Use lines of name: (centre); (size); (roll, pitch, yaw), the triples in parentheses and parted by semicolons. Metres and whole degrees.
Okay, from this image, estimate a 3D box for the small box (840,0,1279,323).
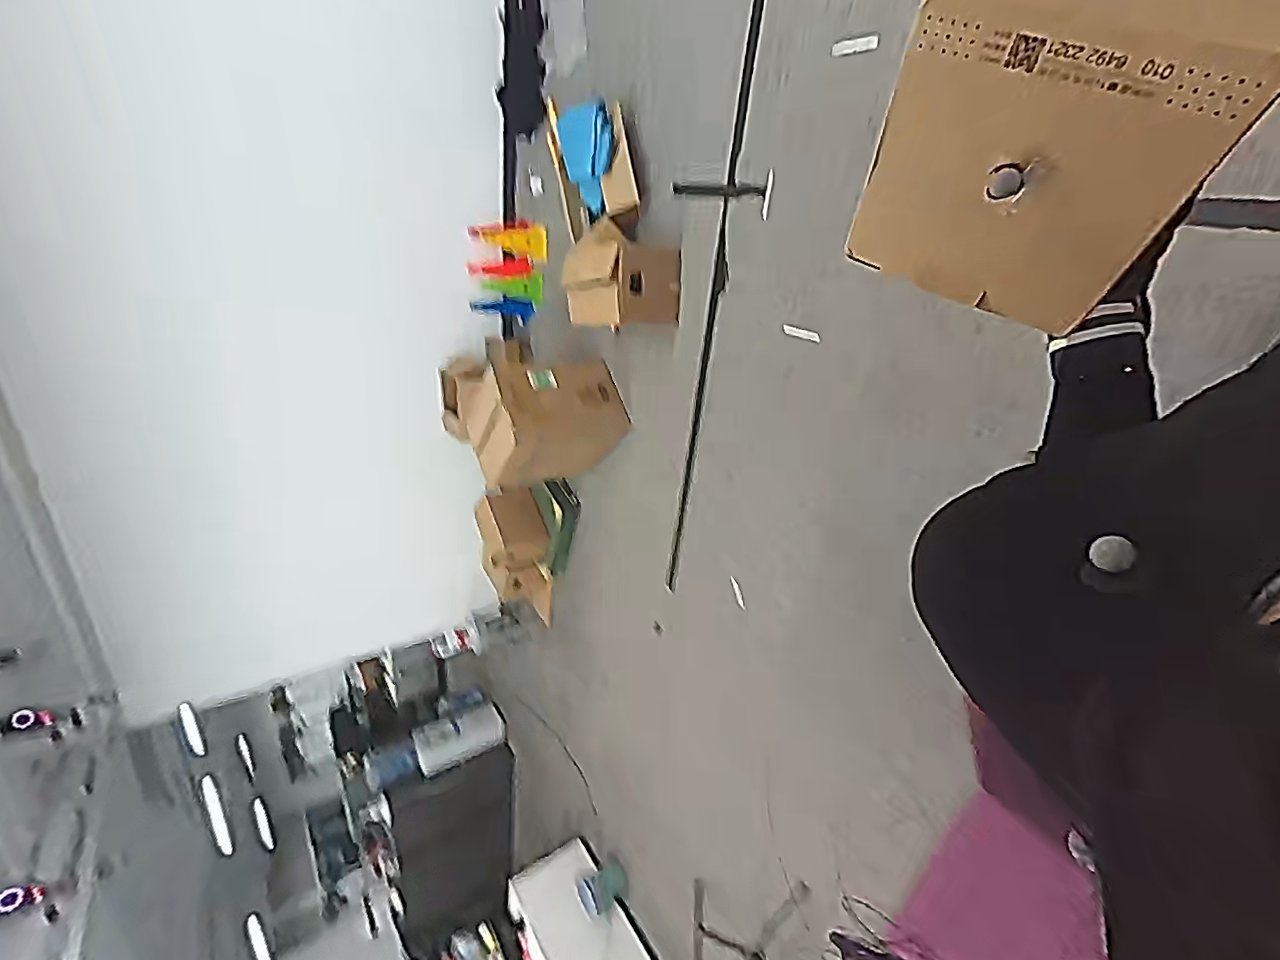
small box: (0.255, -0.240, 0.336); (0.168, 0.179, 0.176); (33, 158, 21)
